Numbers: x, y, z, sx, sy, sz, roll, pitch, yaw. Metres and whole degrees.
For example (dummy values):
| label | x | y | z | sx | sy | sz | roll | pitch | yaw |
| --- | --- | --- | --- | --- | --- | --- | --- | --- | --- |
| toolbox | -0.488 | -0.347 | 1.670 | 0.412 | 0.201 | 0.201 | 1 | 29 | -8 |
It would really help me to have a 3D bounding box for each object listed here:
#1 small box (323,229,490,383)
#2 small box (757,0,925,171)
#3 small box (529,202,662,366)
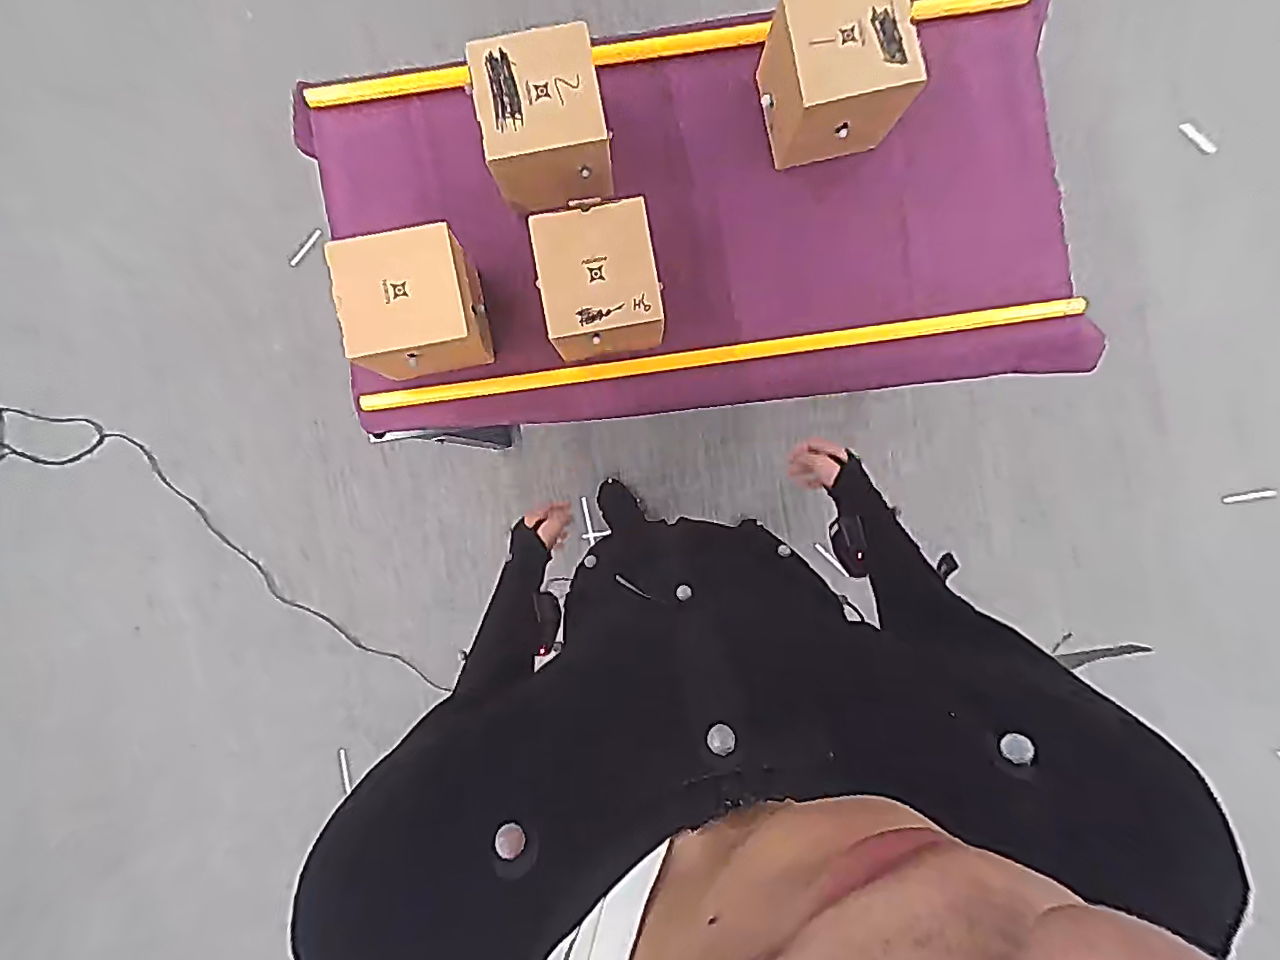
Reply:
| label | x | y | z | sx | sy | sz | roll | pitch | yaw |
| --- | --- | --- | --- | --- | --- | --- | --- | --- | --- |
| small box | -0.341 | -0.255 | 0.829 | 0.179 | 0.176 | 0.168 | -11 | 90 | 0 |
| small box | 0.292 | -0.605 | 0.819 | 0.179 | 0.176 | 0.168 | -12 | 91 | 2 |
| small box | -0.062 | -0.287 | 0.827 | 0.168 | 0.176 | 0.179 | -9 | 90 | 1 |
